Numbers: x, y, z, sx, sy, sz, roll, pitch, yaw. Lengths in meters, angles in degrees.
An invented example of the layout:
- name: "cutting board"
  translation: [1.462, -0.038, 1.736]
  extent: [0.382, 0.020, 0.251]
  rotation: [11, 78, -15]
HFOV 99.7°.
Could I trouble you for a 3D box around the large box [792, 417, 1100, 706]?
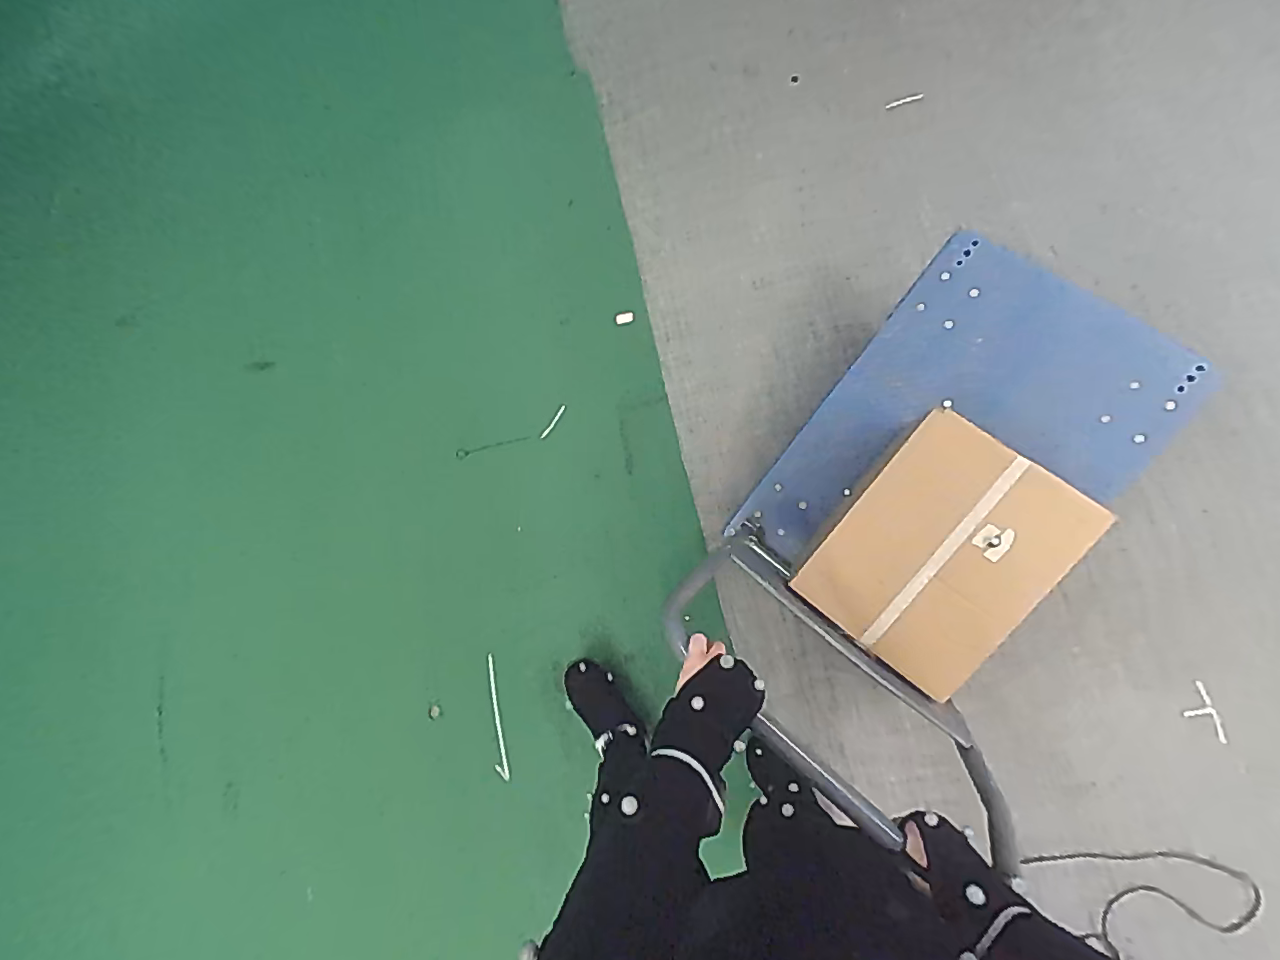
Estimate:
- name: "large box"
  translation: [0.546, 0.144, 1.064]
  extent: [0.320, 0.320, 0.408]
  rotation: [39, 99, 14]
